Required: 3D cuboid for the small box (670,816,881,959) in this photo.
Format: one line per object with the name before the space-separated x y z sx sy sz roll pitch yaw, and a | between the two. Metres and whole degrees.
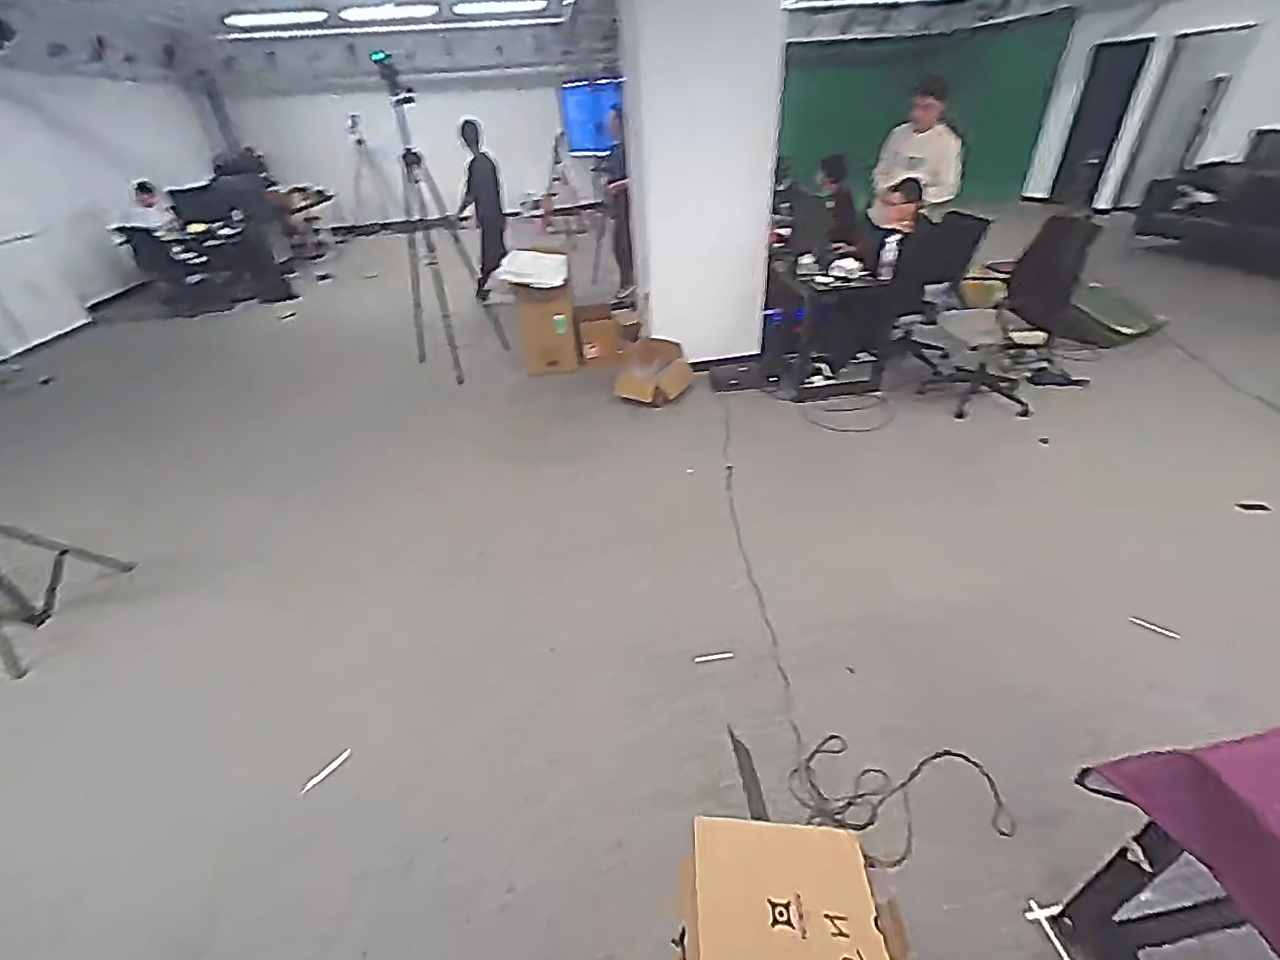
small box | 0.123 0.472 0.547 0.179 0.176 0.168 5 32 -2
